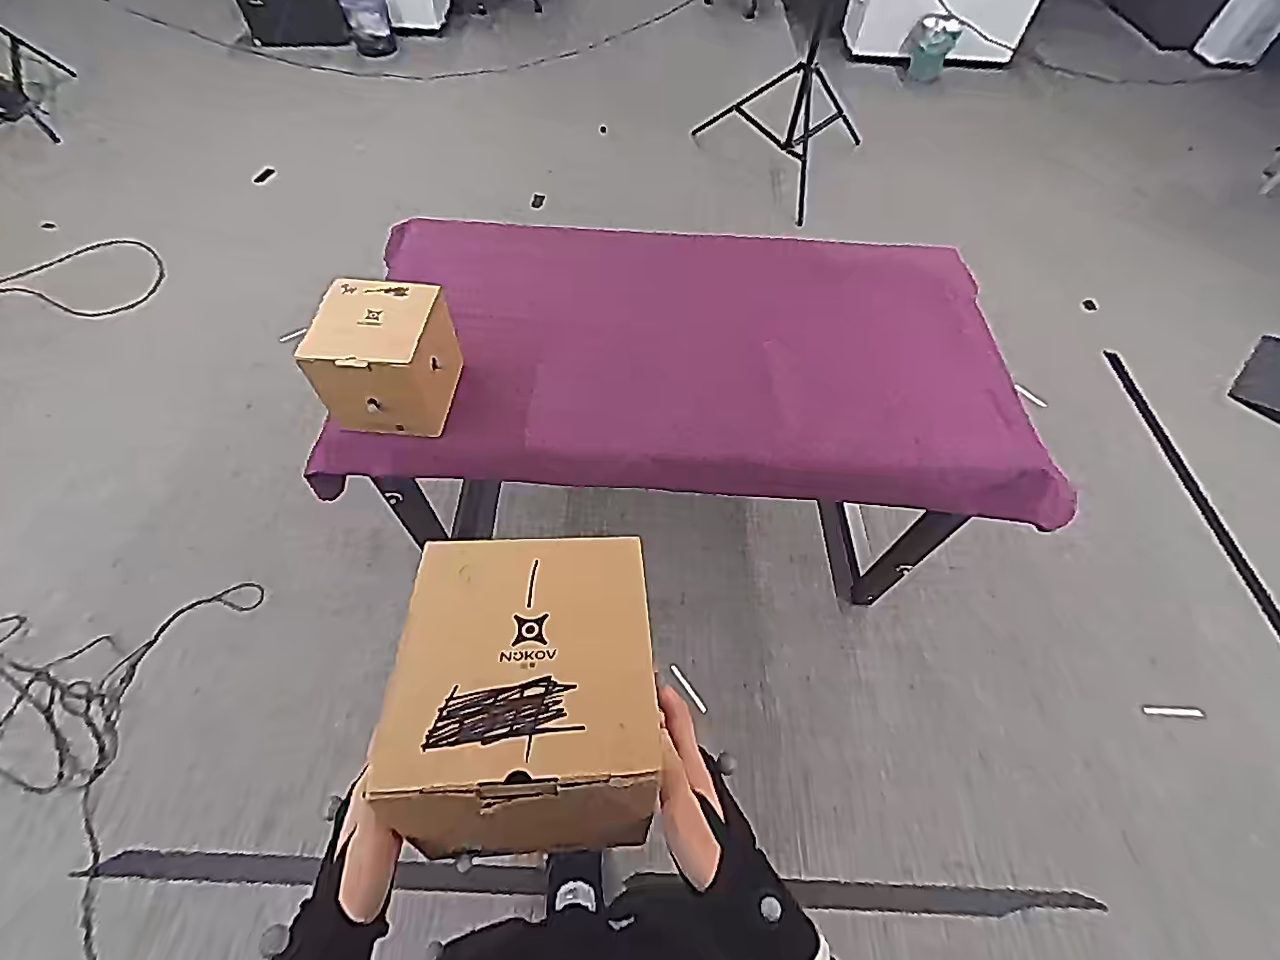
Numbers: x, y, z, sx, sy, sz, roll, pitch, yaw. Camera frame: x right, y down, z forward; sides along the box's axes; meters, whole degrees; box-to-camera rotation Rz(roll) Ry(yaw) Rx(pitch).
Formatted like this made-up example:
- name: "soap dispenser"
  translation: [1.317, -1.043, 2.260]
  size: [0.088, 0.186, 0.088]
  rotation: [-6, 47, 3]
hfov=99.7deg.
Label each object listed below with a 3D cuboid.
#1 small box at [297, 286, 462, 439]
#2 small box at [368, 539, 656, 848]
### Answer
- name: "small box"
  translation: [-0.400, -0.183, 0.869]
  size: [0.168, 0.176, 0.179]
  rotation: [4, 58, -1]
- name: "small box"
  translation: [-0.079, 0.166, 0.418]
  size: [0.168, 0.176, 0.179]
  rotation: [0, 44, -5]
